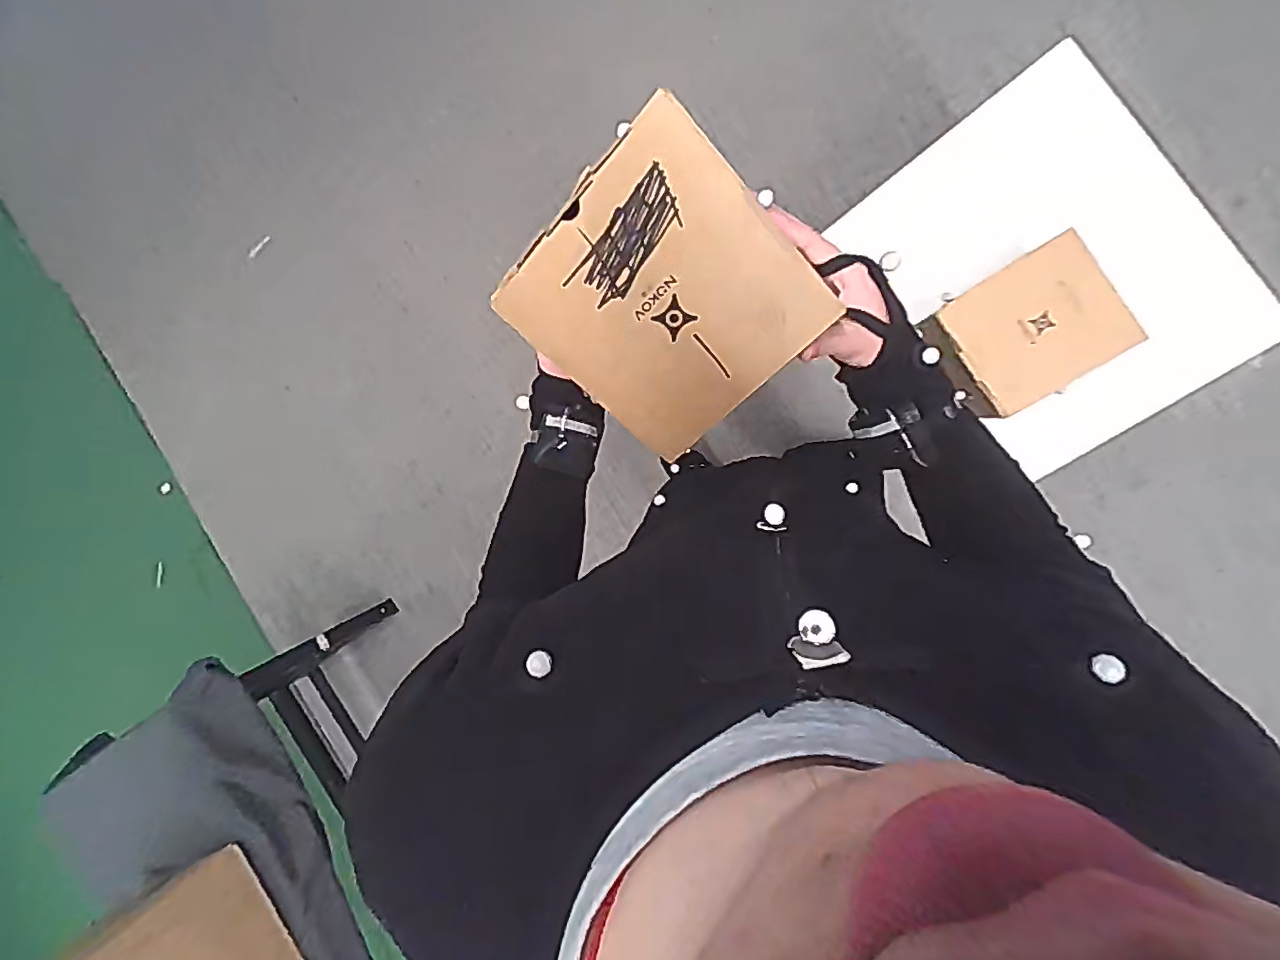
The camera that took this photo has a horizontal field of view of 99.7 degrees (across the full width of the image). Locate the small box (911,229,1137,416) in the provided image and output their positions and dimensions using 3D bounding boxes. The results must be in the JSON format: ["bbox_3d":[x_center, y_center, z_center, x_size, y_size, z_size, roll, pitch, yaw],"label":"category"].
[{"bbox_3d":[0.504,-0.202,0.749,0.179,0.176,0.168,-33,90,15],"label":"small box"}]
